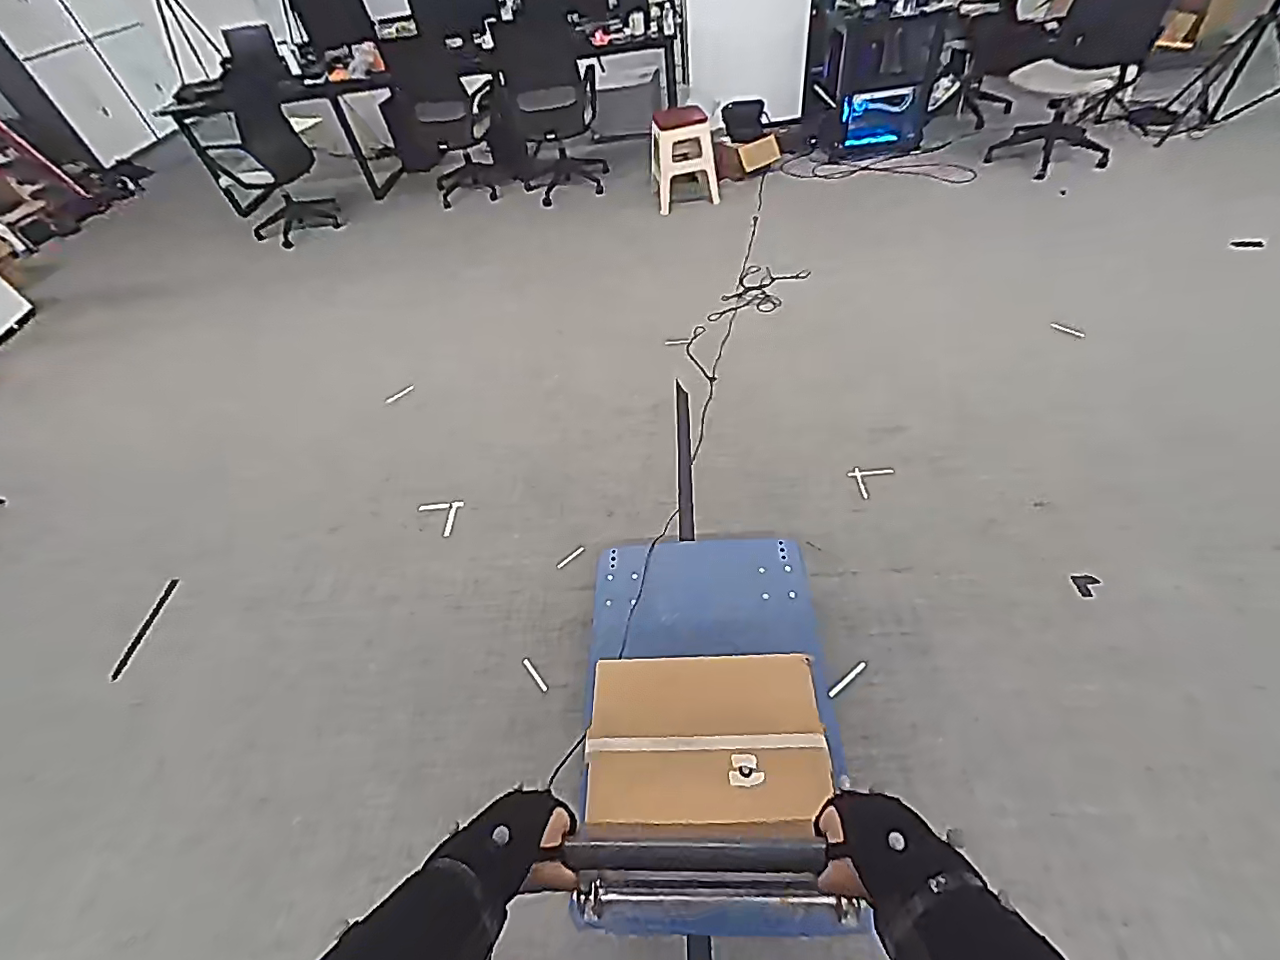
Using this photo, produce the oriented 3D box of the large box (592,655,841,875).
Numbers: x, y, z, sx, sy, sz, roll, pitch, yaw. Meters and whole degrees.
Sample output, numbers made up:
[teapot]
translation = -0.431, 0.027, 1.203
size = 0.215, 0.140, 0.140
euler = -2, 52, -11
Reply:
[large box]
translation = 0.134, 0.565, 1.063
size = 0.408, 0.320, 0.320
euler = -4, 49, 5
